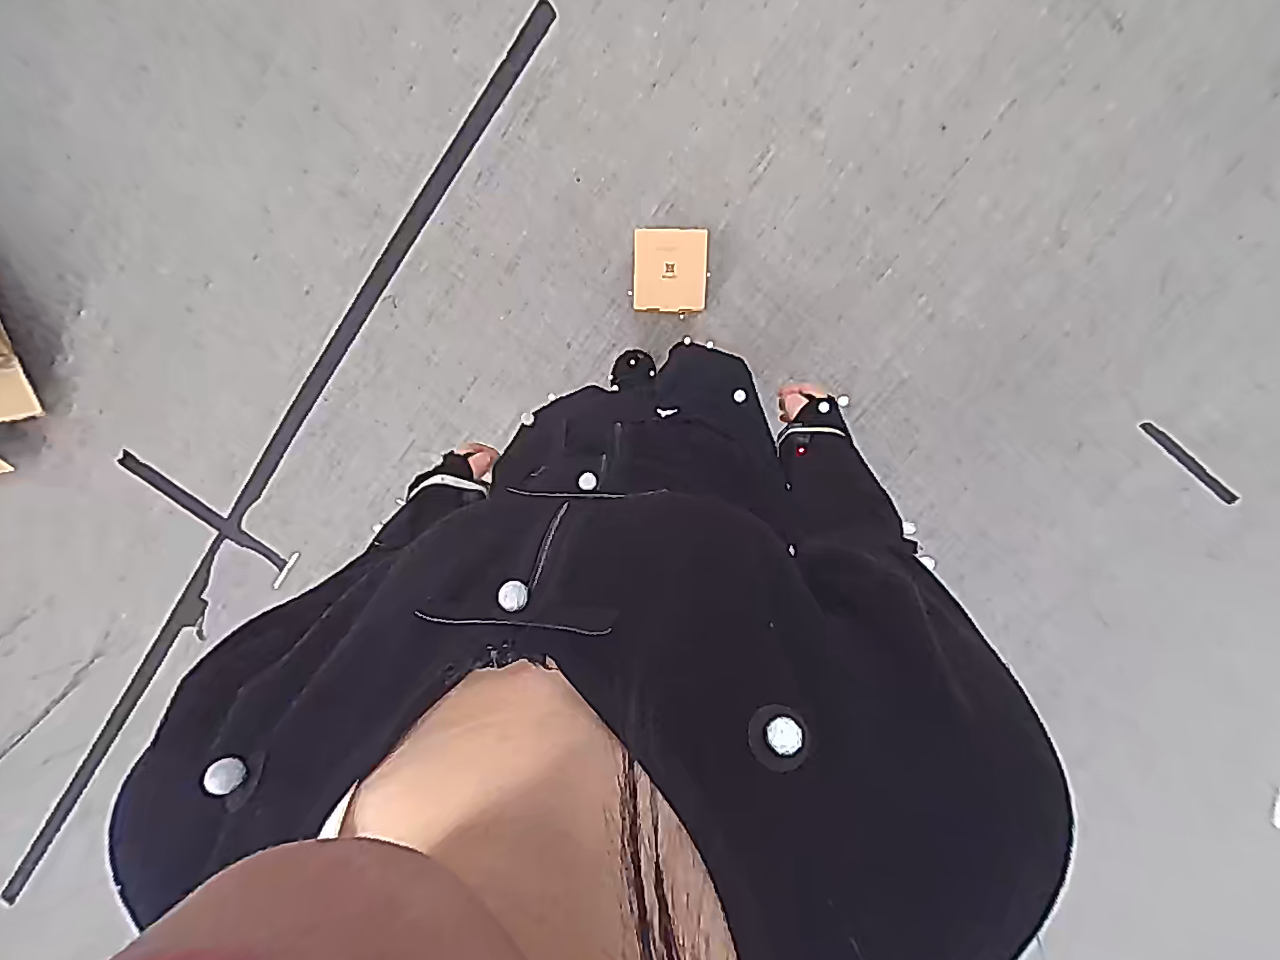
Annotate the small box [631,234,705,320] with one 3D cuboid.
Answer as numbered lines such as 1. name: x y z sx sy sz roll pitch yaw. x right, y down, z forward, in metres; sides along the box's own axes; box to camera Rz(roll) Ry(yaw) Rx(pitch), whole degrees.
1. small box: 0.063 -0.481 1.301 0.168 0.176 0.179 0 103 -1
